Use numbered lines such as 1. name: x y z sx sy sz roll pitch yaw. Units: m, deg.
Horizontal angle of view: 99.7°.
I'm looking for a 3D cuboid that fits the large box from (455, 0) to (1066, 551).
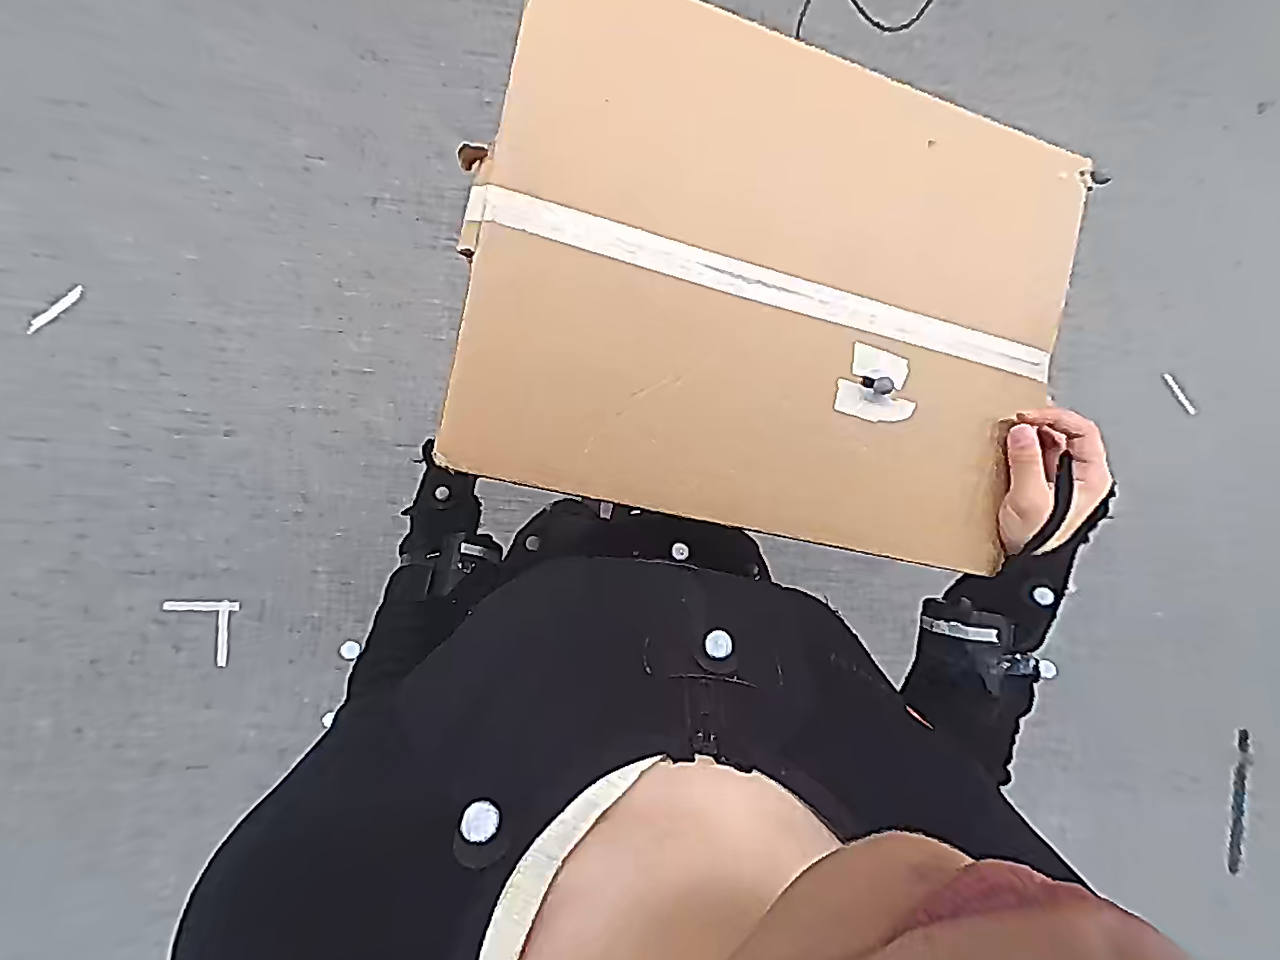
1. large box: 0.071 -0.138 0.509 0.408 0.320 0.320 12 92 -13
